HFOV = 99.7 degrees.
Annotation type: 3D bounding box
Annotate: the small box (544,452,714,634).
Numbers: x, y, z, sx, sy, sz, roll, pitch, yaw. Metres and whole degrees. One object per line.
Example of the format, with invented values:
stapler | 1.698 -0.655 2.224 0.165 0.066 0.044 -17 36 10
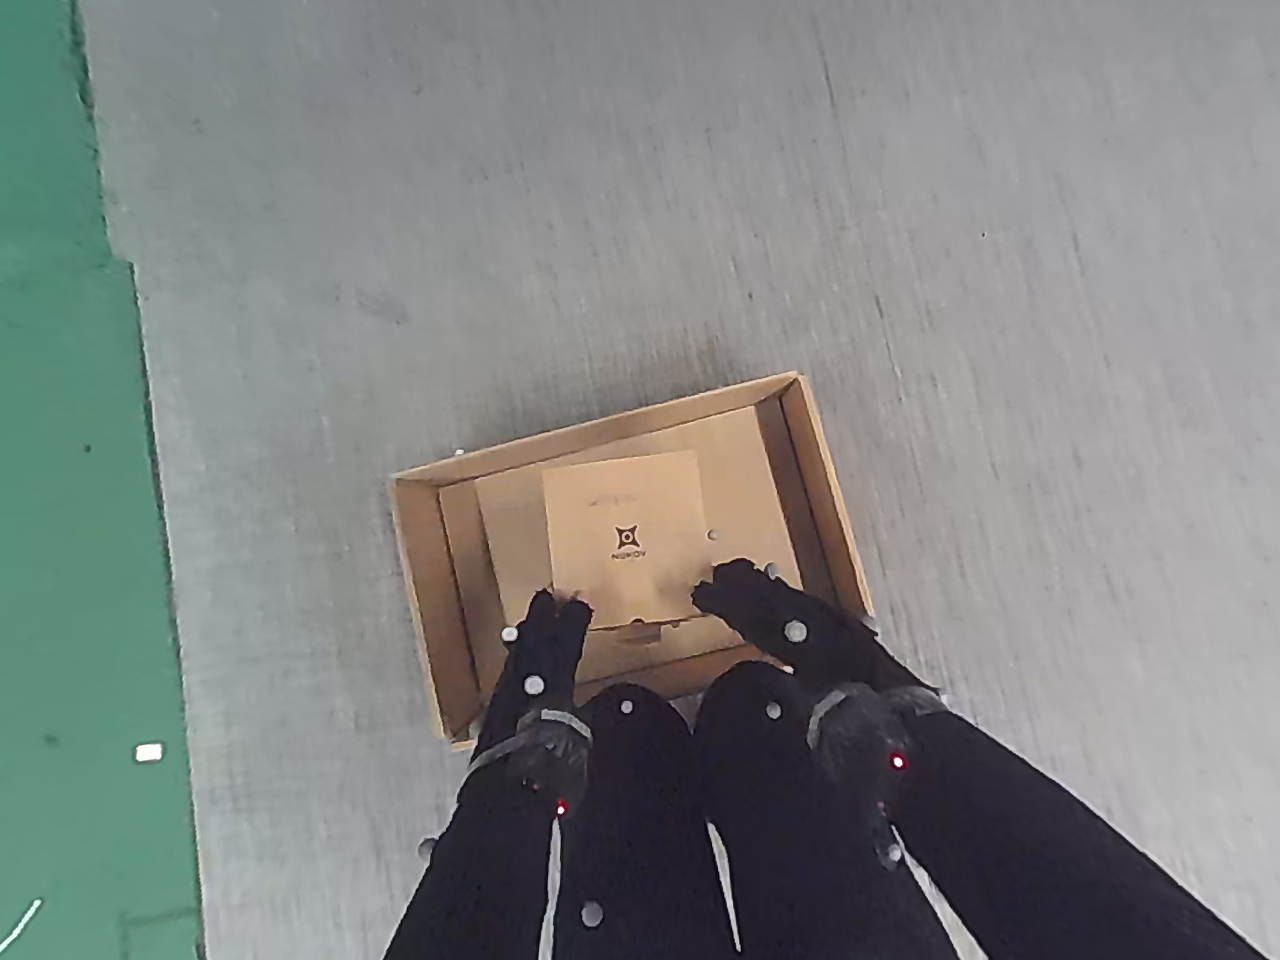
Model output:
small box | -0.006 0.075 0.644 0.168 0.176 0.179 -8 81 3
